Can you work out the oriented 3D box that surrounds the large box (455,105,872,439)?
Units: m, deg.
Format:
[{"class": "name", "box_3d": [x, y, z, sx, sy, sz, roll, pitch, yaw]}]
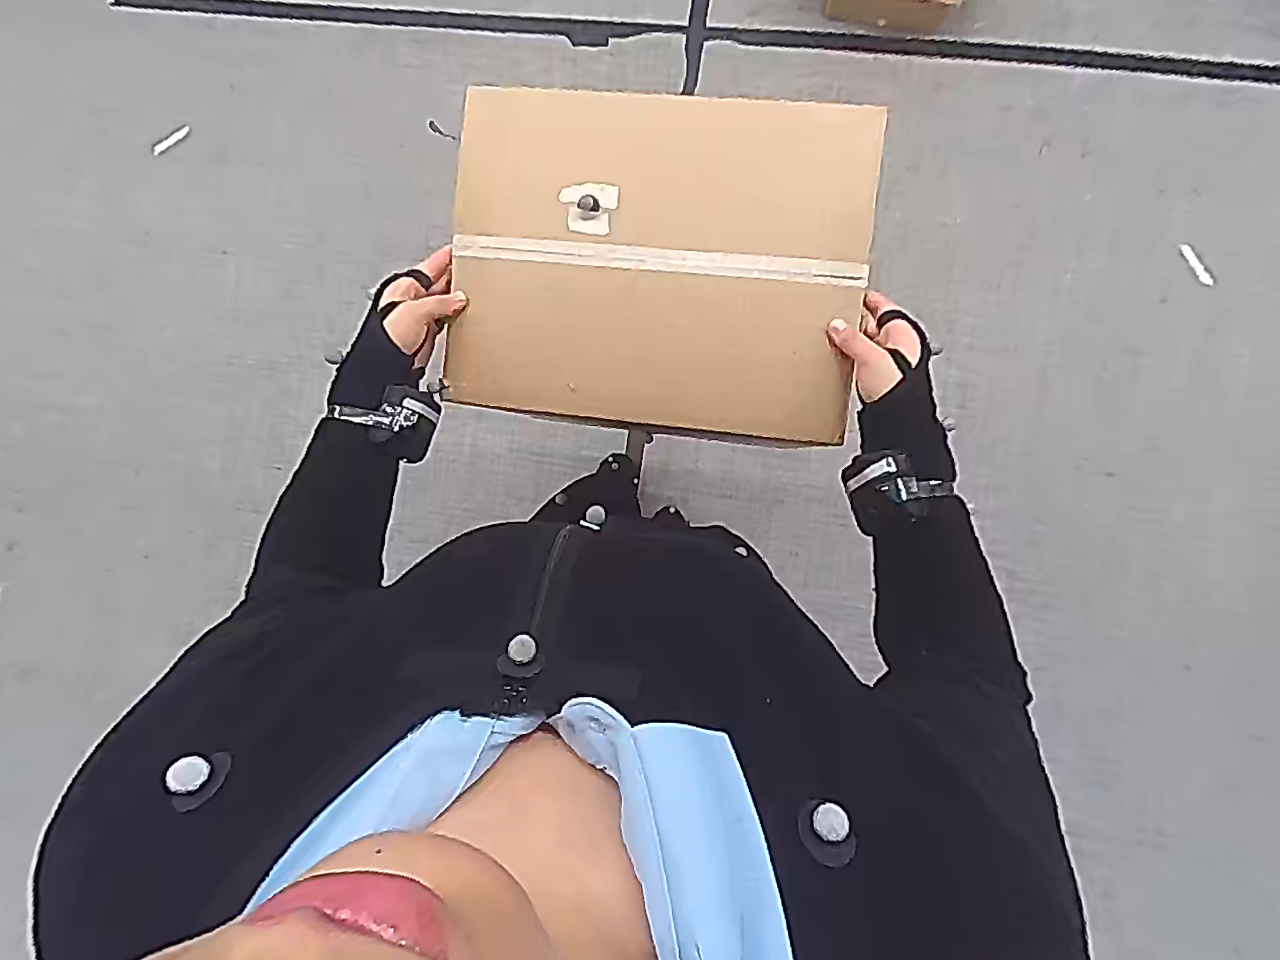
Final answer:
[{"class": "large box", "box_3d": [0.032, -0.222, 0.688, 0.408, 0.320, 0.320, 6, 92, 6]}]
